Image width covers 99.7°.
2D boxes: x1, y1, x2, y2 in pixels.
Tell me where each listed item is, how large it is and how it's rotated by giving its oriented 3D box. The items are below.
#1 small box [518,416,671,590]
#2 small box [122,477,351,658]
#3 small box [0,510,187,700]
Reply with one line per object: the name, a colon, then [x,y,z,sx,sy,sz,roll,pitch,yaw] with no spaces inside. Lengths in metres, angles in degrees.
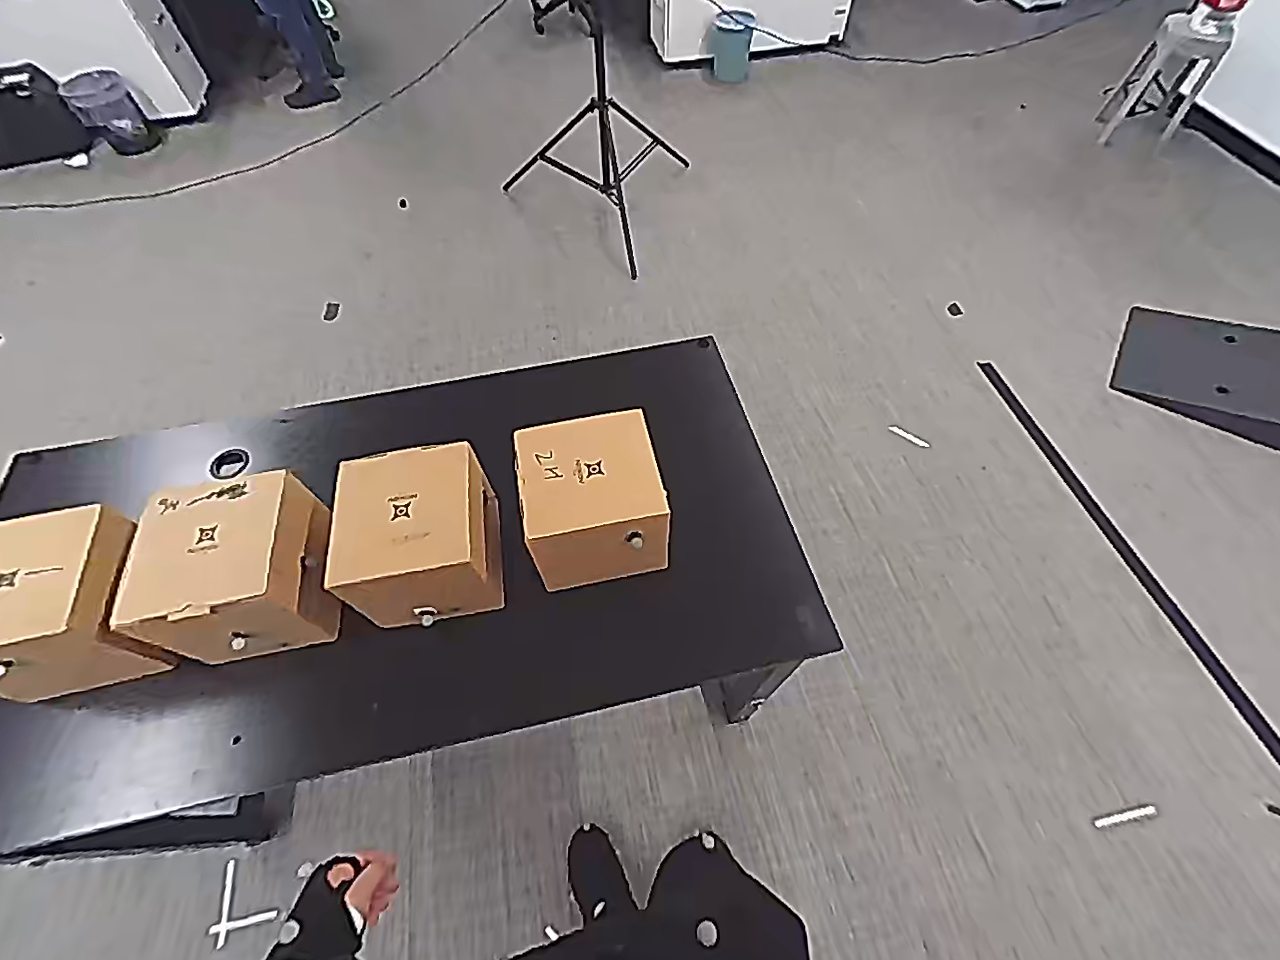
small box: [-0.062,0.037,0.753,0.179,0.176,0.168,-11,58,-5]
small box: [-0.504,0.123,0.709,0.168,0.176,0.179,-11,59,-5]
small box: [-0.714,0.164,0.686,0.179,0.176,0.168,-12,59,-8]
